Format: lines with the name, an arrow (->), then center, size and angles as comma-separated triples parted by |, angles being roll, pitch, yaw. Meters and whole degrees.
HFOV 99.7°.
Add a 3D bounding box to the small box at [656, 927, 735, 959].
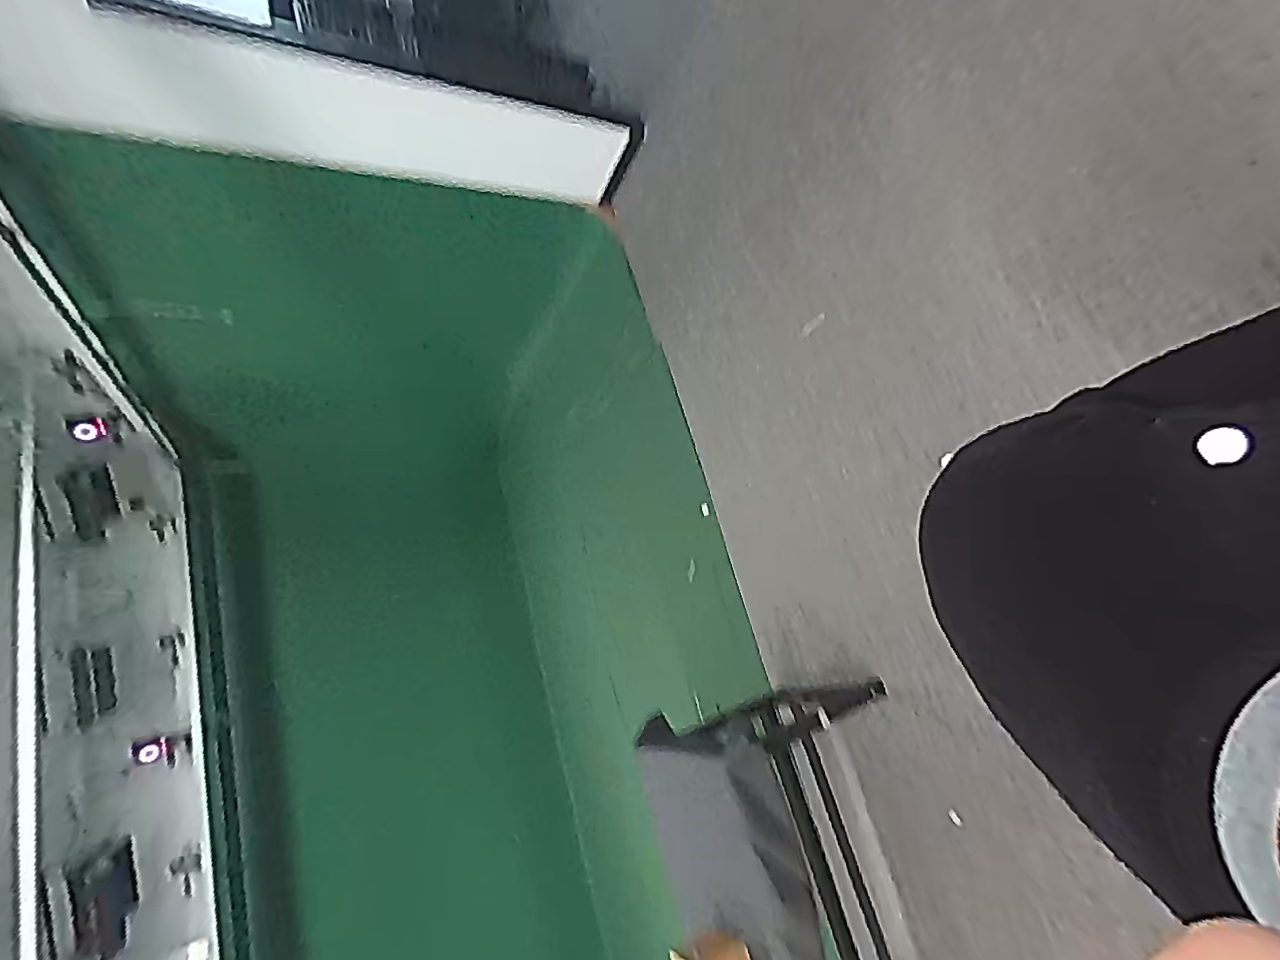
small box -> 0.176, 1.431, 1.547 | 0.179, 0.176, 0.168 | -42, 60, 55
